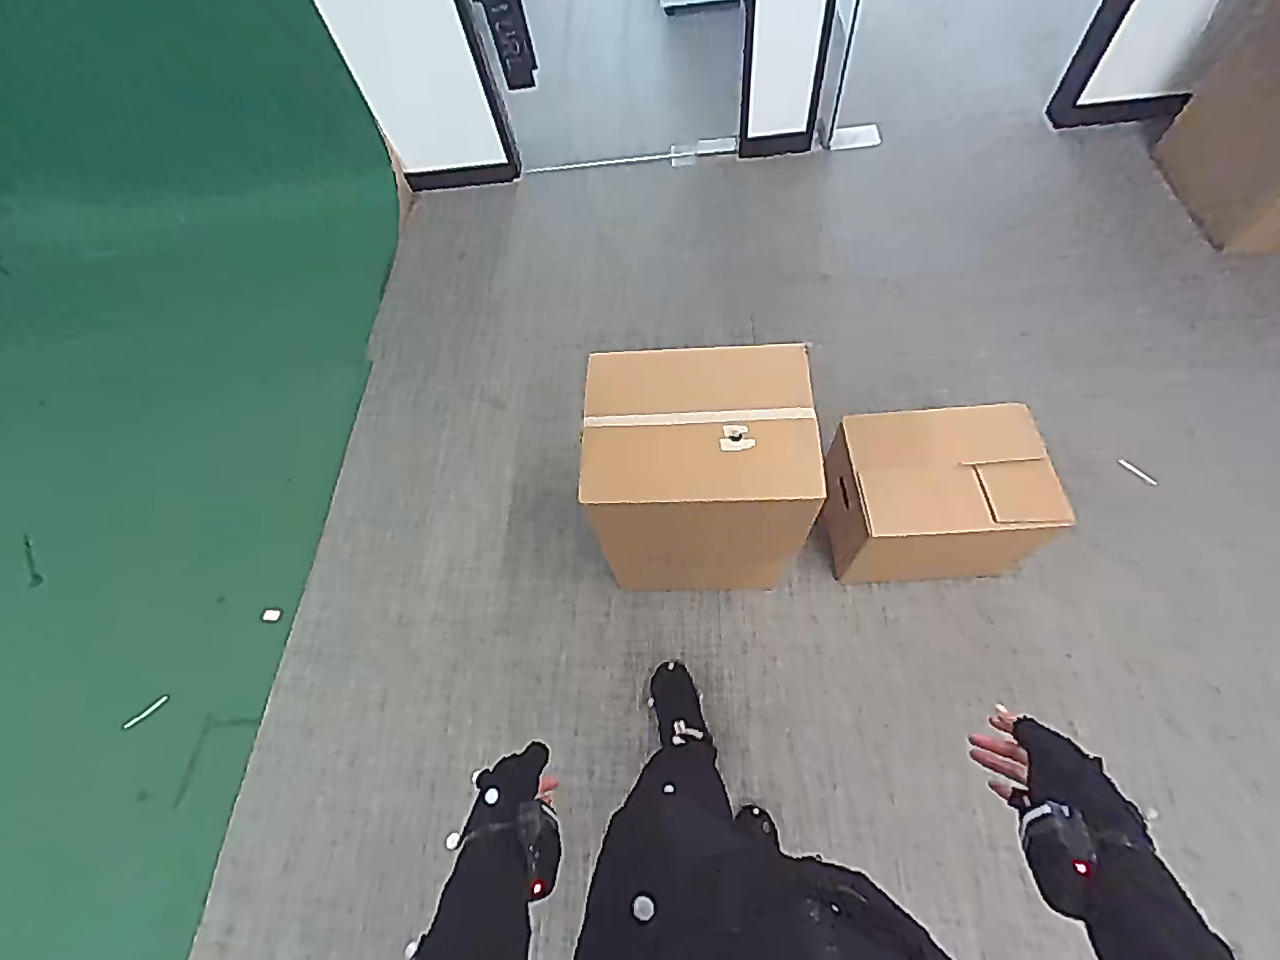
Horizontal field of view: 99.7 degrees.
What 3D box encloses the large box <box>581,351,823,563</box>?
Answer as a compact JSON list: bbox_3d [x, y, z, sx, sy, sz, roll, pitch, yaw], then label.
[{"bbox_3d":[0.111,-0.030,1.081,0.408,0.320,0.320,-1,64,5],"label":"large box"}]
